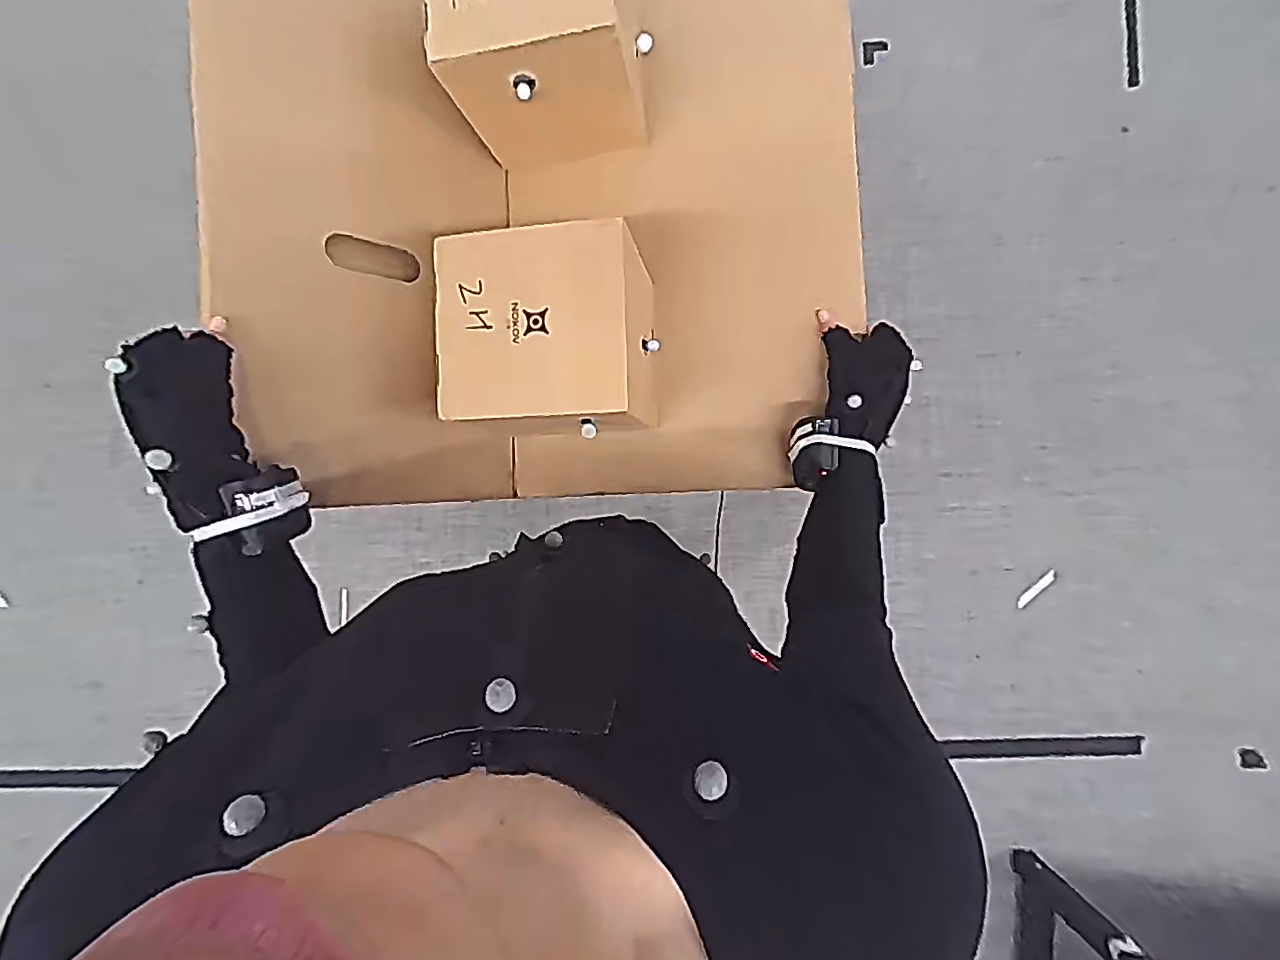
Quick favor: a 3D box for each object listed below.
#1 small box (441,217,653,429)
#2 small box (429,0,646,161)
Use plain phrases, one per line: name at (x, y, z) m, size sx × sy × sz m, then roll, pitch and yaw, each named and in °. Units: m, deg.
small box at (-0.081, -0.144, 0.555) m, size 0.179 × 0.176 × 0.168 m, roll -1°, pitch 89°, yaw 11°
small box at (-0.096, -0.463, 0.560) m, size 0.179 × 0.176 × 0.168 m, roll -4°, pitch 89°, yaw 9°
